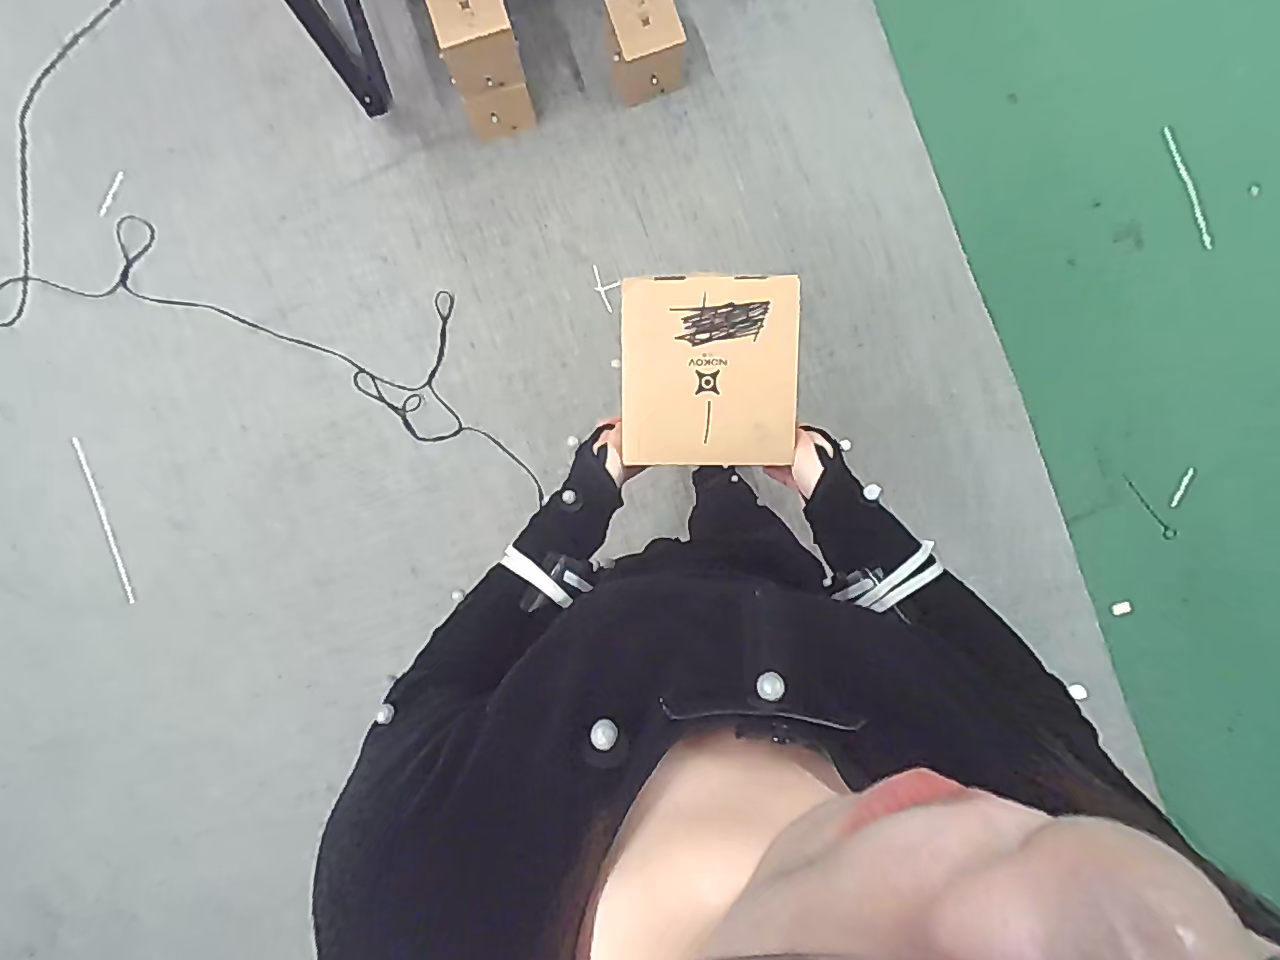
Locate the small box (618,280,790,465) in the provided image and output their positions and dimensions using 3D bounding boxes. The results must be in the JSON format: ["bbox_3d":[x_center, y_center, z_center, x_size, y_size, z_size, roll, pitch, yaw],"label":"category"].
[{"bbox_3d":[0.062,-0.112,0.599,0.168,0.176,0.179,0,98,2],"label":"small box"}]
